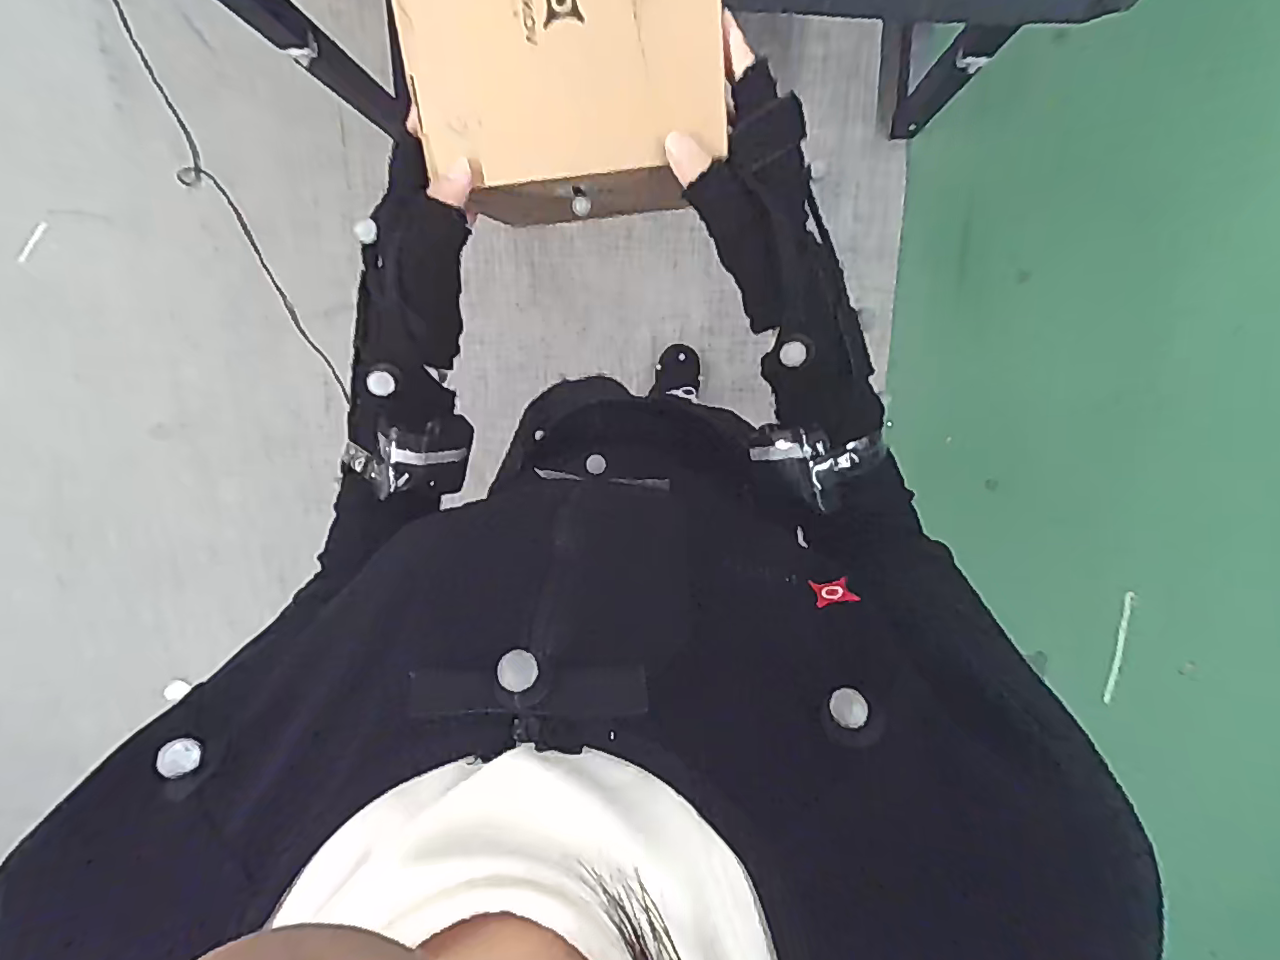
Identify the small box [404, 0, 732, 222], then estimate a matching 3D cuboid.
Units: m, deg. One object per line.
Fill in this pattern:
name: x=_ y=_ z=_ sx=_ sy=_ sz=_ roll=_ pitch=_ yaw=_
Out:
small box: x=-0.036 y=-0.281 z=0.364 sx=0.179 sy=0.176 sz=0.168 roll=-5 pitch=109 yaw=5
